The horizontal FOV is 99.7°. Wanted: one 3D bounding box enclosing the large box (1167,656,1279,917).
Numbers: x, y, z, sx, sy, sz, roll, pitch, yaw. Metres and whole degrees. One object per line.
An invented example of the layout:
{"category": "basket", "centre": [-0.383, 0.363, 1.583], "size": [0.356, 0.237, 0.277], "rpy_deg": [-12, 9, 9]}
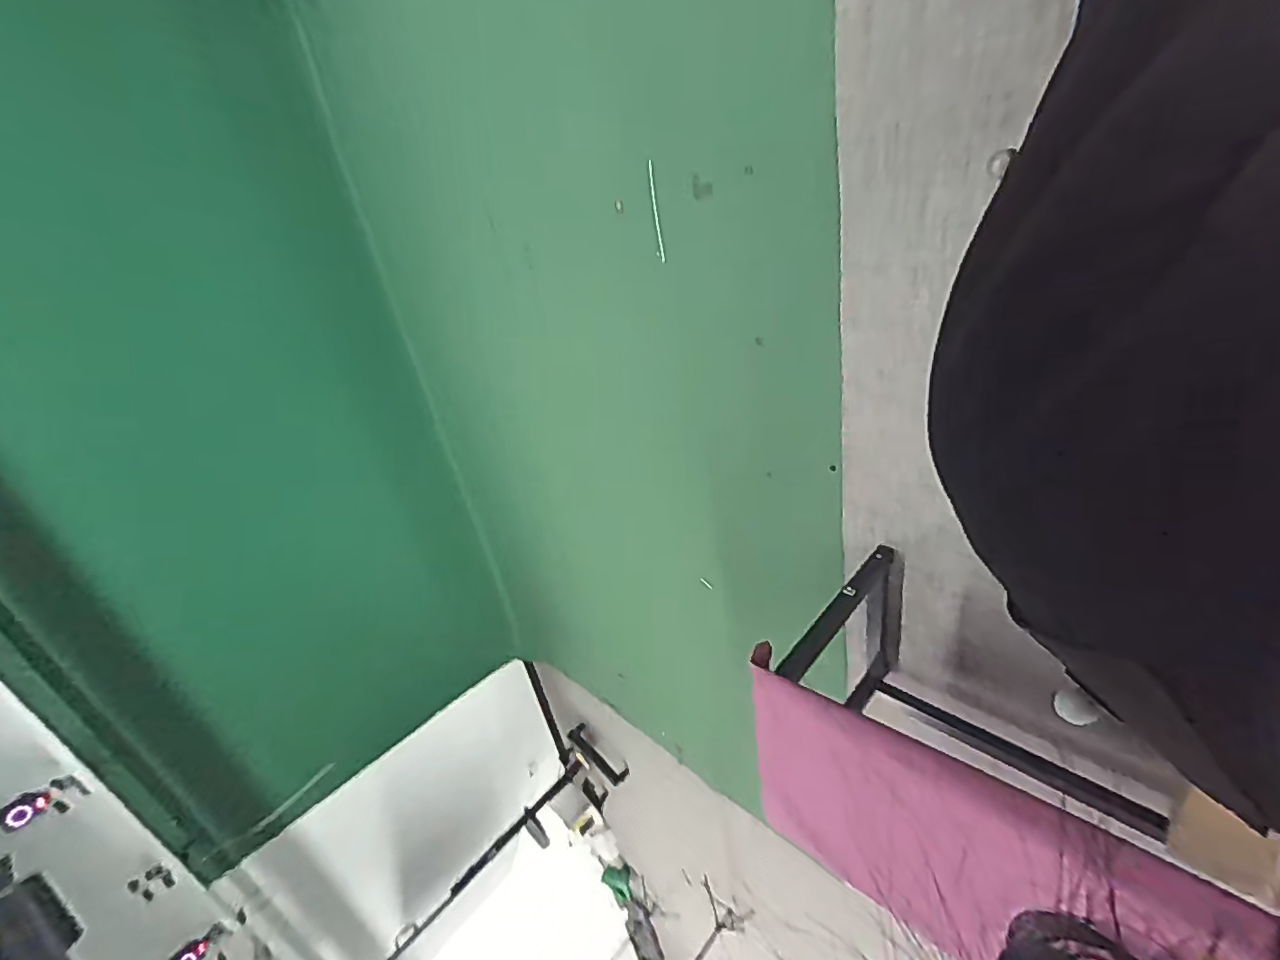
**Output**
{"category": "large box", "centre": [1.400, 0.673, 1.156], "size": [0.320, 0.320, 0.408], "rpy_deg": [16, 125, 43]}
